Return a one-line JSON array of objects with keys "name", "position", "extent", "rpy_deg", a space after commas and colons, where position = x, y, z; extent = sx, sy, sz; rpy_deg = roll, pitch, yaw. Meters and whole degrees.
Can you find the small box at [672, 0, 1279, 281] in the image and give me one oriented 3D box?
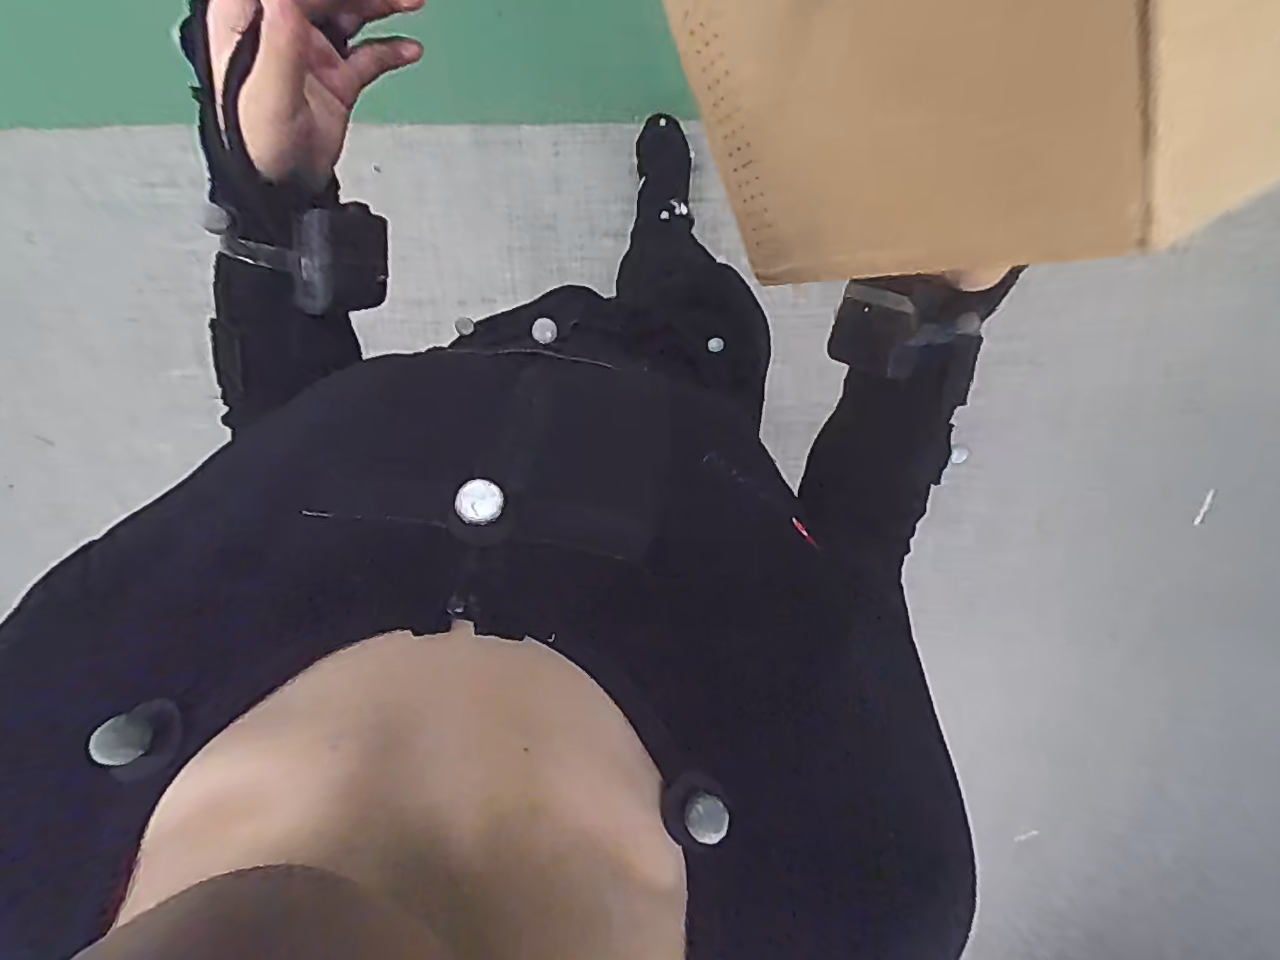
[{"name": "small box", "position": [0.121, -0.185, 0.177], "extent": [0.168, 0.176, 0.179], "rpy_deg": [-31, 113, -7]}]
